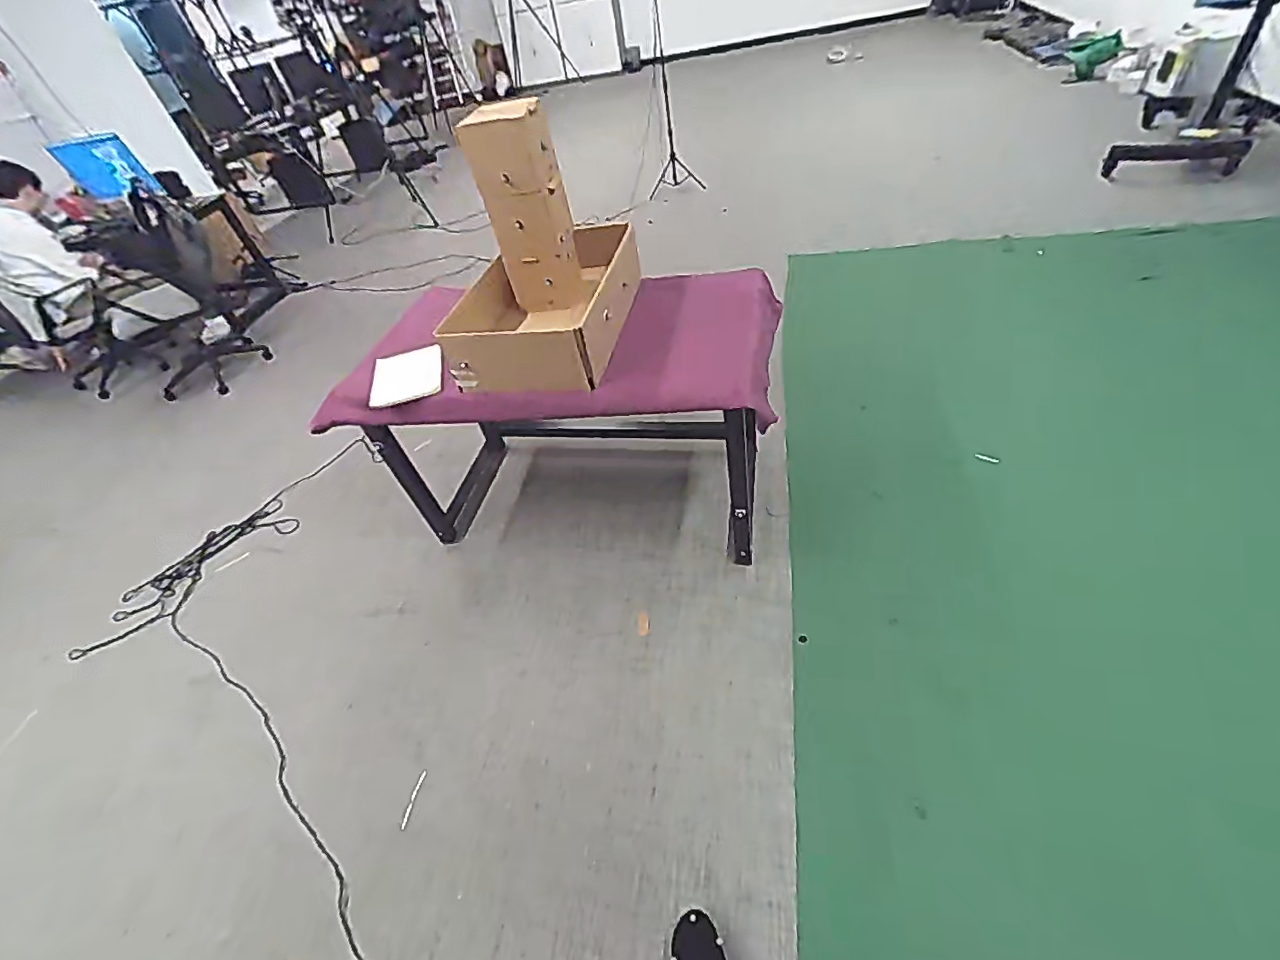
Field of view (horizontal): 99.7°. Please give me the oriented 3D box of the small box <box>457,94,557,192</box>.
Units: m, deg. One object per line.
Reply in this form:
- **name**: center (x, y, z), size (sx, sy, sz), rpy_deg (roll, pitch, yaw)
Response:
- **small box**: center (-0.329, -0.859, 1.384), size (0.179, 0.176, 0.168), rpy_deg (2, 48, 13)

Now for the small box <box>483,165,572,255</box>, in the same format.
- **small box**: center (-0.301, -0.745, 1.499), size (0.179, 0.176, 0.168), rpy_deg (0, 47, 13)
